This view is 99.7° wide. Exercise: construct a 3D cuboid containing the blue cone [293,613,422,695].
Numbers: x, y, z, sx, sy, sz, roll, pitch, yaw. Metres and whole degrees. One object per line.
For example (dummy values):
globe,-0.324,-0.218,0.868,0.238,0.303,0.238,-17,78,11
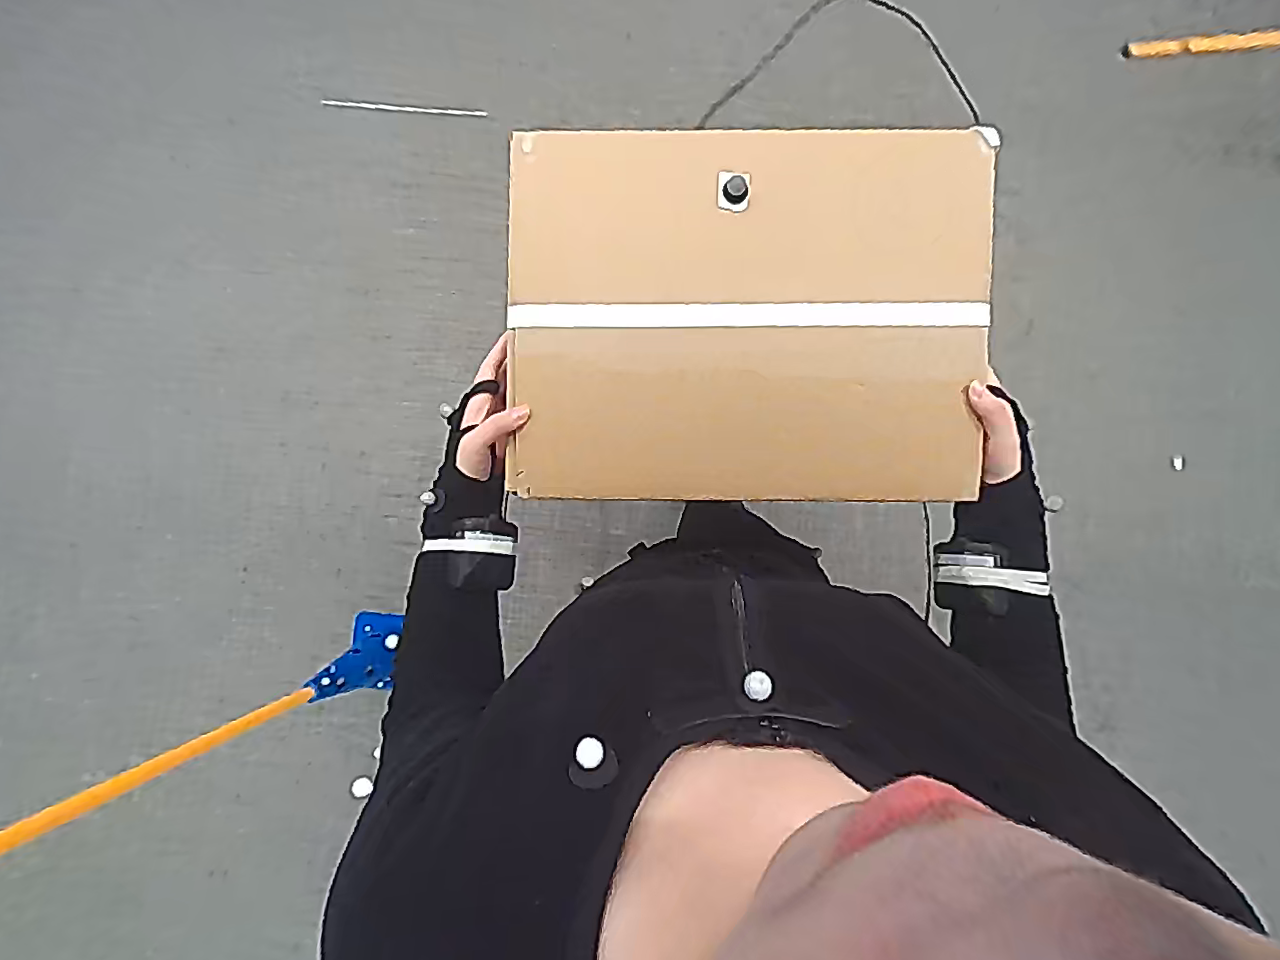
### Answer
blue cone,-0.673,0.436,1.260,0.193,0.380,0.192,2,86,1
